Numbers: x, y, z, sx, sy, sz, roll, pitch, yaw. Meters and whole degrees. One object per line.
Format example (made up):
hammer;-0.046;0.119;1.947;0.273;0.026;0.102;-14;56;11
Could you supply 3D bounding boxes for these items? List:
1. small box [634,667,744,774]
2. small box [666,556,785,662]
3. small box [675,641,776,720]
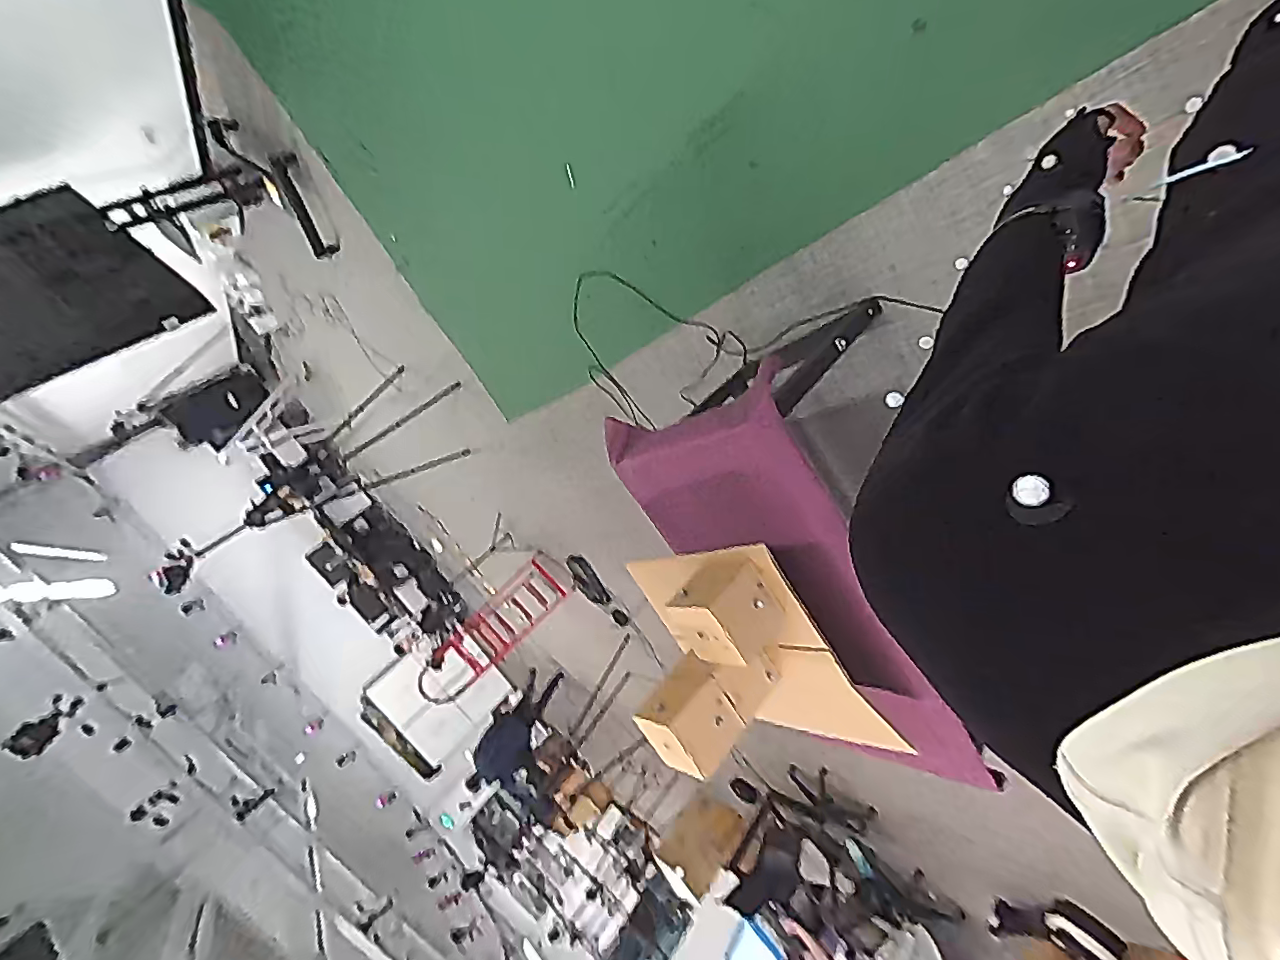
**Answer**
small box;0.124;0.588;1.349;0.168;0.176;0.179;56;147;-8
small box;0.201;0.294;1.260;0.168;0.176;0.179;56;147;-10
small box;0.233;0.497;1.427;0.168;0.176;0.179;57;148;-9
